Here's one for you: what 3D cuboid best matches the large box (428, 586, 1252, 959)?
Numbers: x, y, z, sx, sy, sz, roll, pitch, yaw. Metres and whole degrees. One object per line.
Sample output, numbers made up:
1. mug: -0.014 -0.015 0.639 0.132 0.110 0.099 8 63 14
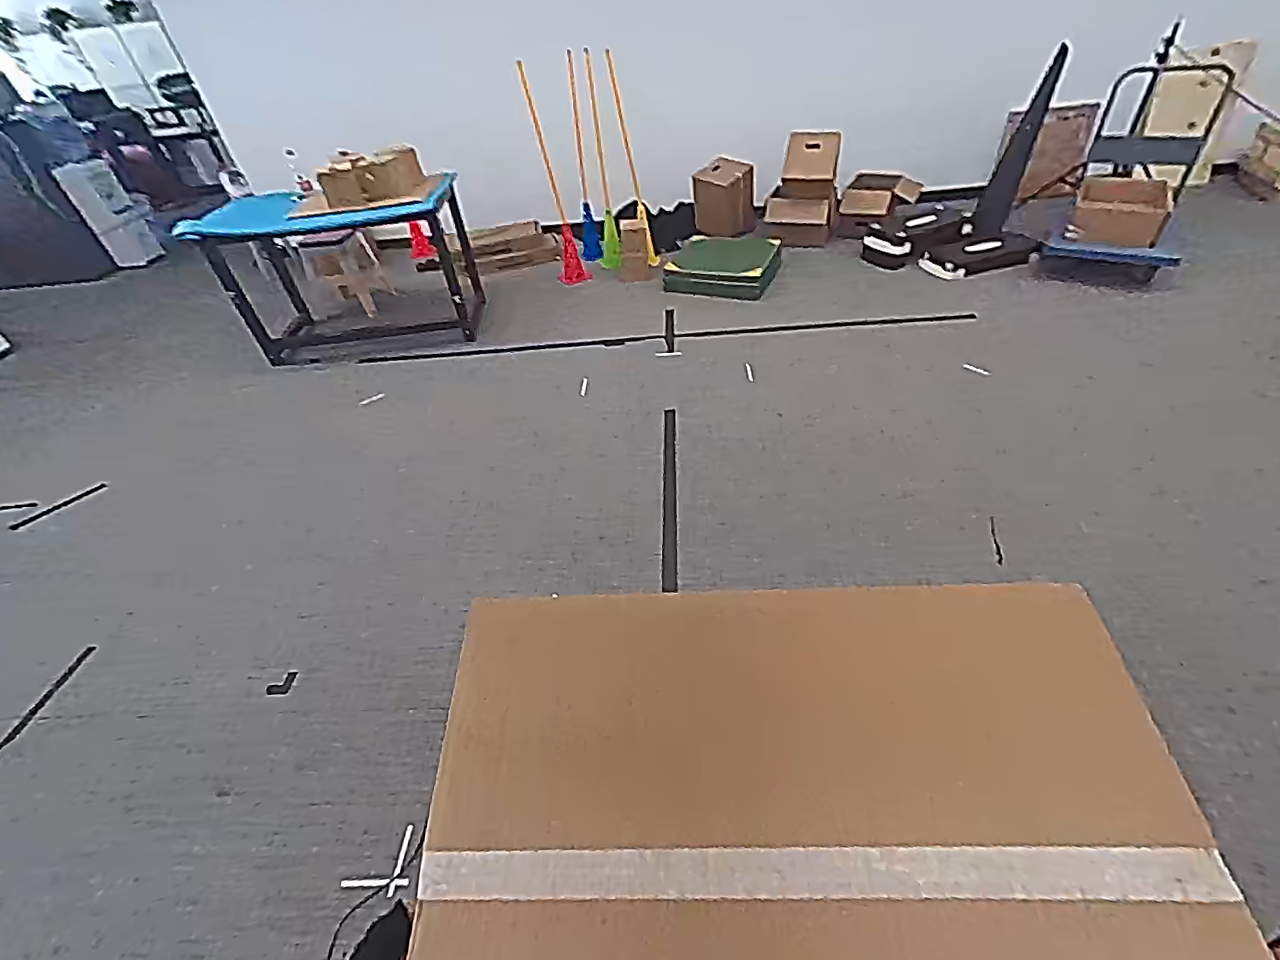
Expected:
1. large box: 0.098 0.293 0.407 0.408 0.320 0.320 -3 55 4
